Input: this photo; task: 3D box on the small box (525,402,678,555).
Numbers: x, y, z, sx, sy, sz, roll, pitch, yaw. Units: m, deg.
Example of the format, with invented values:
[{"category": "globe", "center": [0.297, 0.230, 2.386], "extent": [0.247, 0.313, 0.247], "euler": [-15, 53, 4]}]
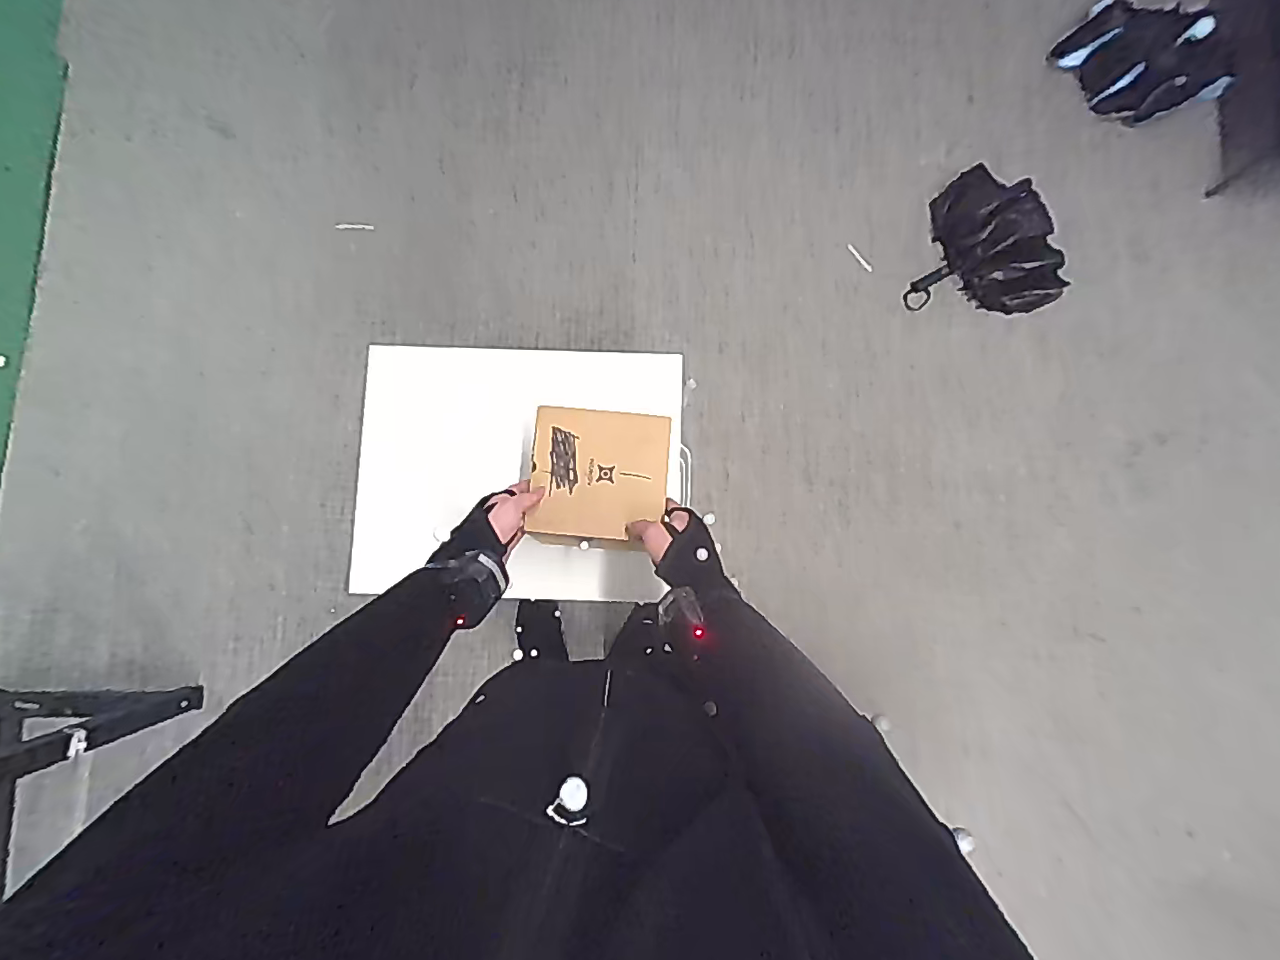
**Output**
[{"category": "small box", "center": [-0.051, 0.008, 0.740], "extent": [0.179, 0.176, 0.168], "euler": [6, 77, -4]}]
